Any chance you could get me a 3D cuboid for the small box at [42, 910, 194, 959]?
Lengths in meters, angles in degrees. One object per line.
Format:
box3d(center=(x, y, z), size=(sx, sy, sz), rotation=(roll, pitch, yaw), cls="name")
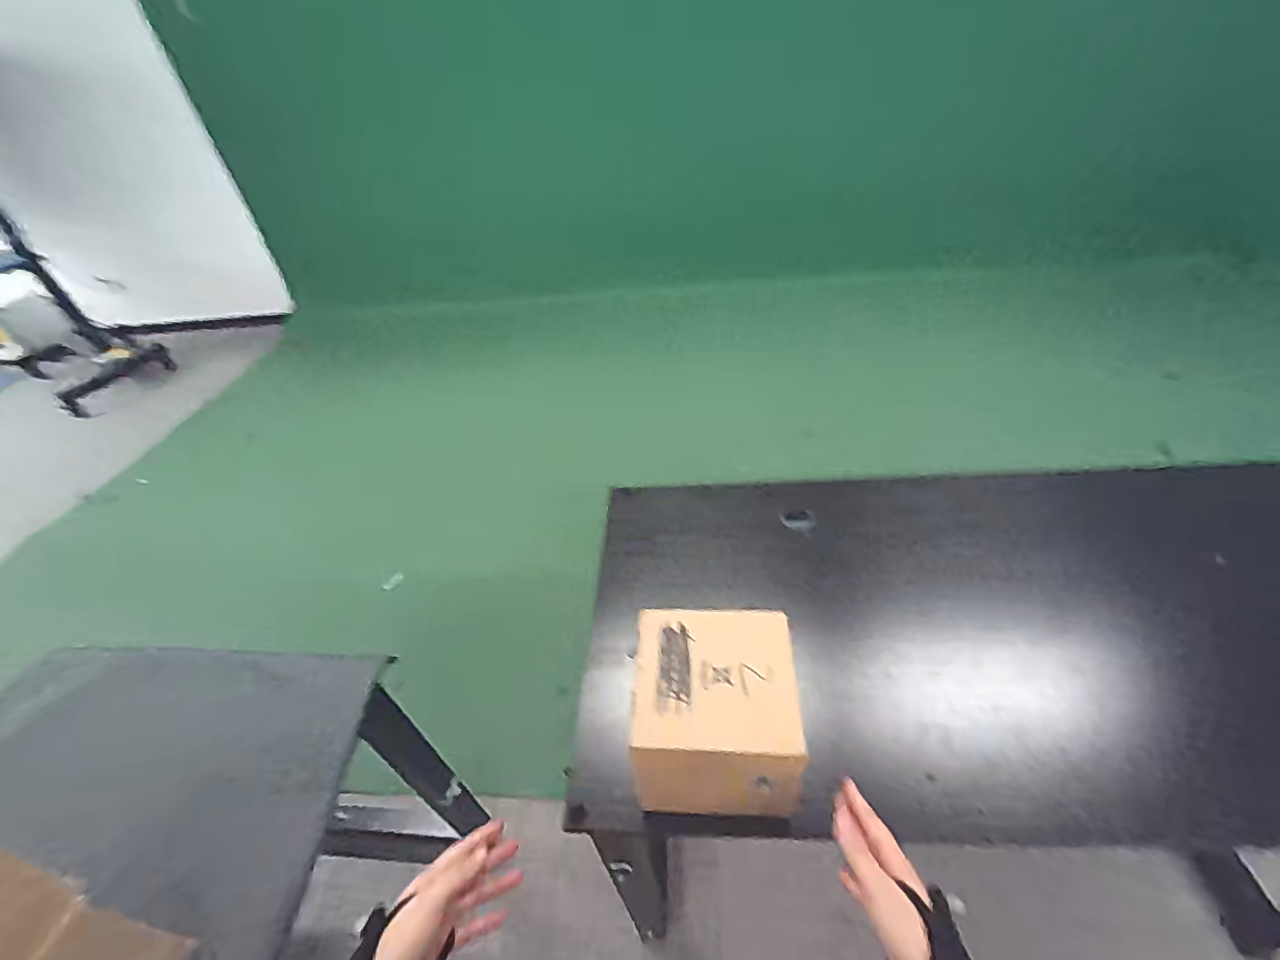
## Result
box3d(center=(-0.571, 0.494, 0.484), size=(0.179, 0.176, 0.168), rotation=(-1, 41, 10), cls="small box")
